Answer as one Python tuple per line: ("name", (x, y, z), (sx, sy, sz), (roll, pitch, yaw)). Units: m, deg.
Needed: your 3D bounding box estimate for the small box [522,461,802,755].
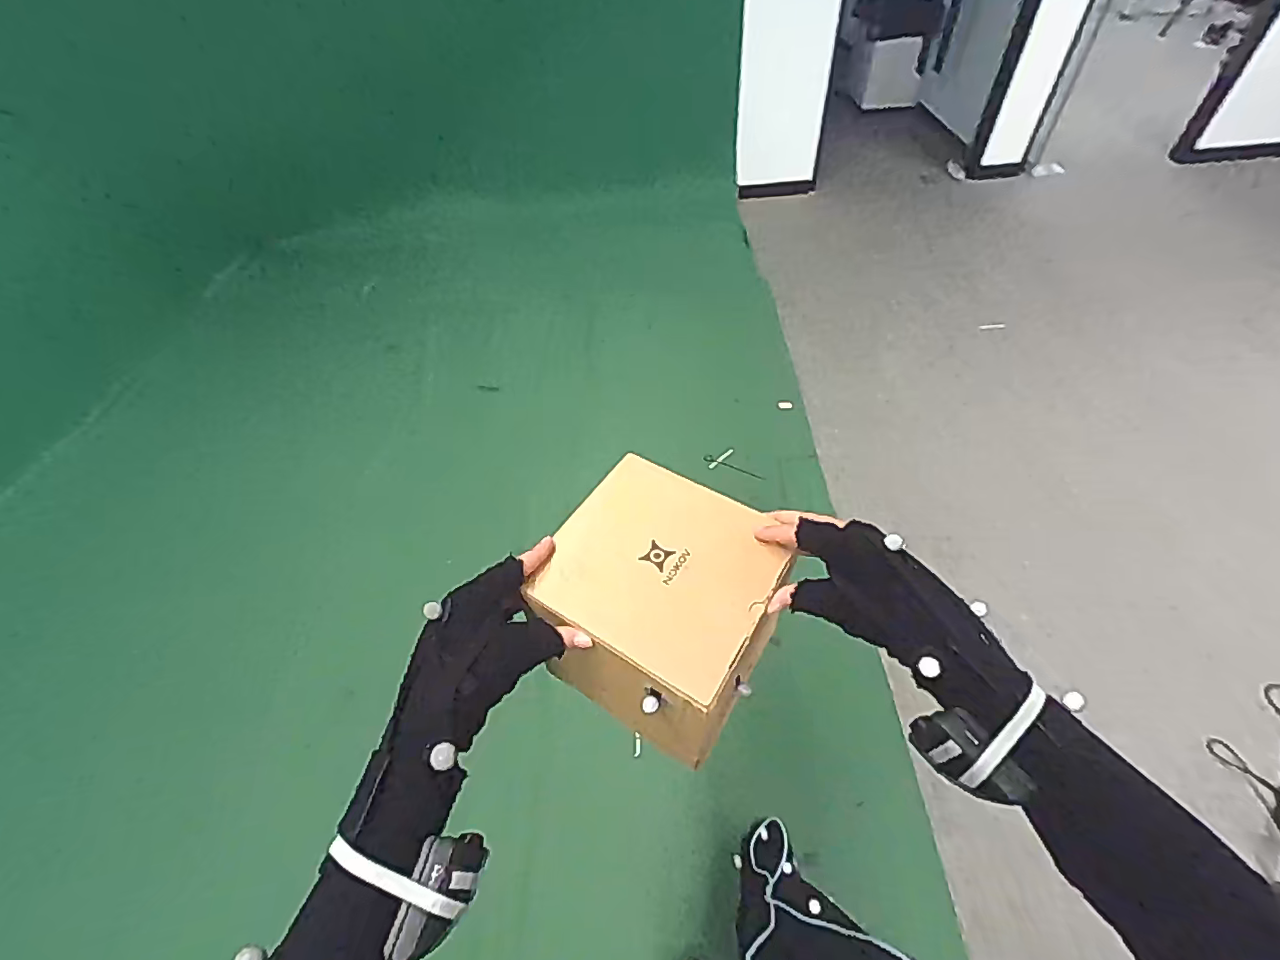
("small box", (0.020, 0.119, 0.499), (0.179, 0.176, 0.168), (27, 55, 21))
